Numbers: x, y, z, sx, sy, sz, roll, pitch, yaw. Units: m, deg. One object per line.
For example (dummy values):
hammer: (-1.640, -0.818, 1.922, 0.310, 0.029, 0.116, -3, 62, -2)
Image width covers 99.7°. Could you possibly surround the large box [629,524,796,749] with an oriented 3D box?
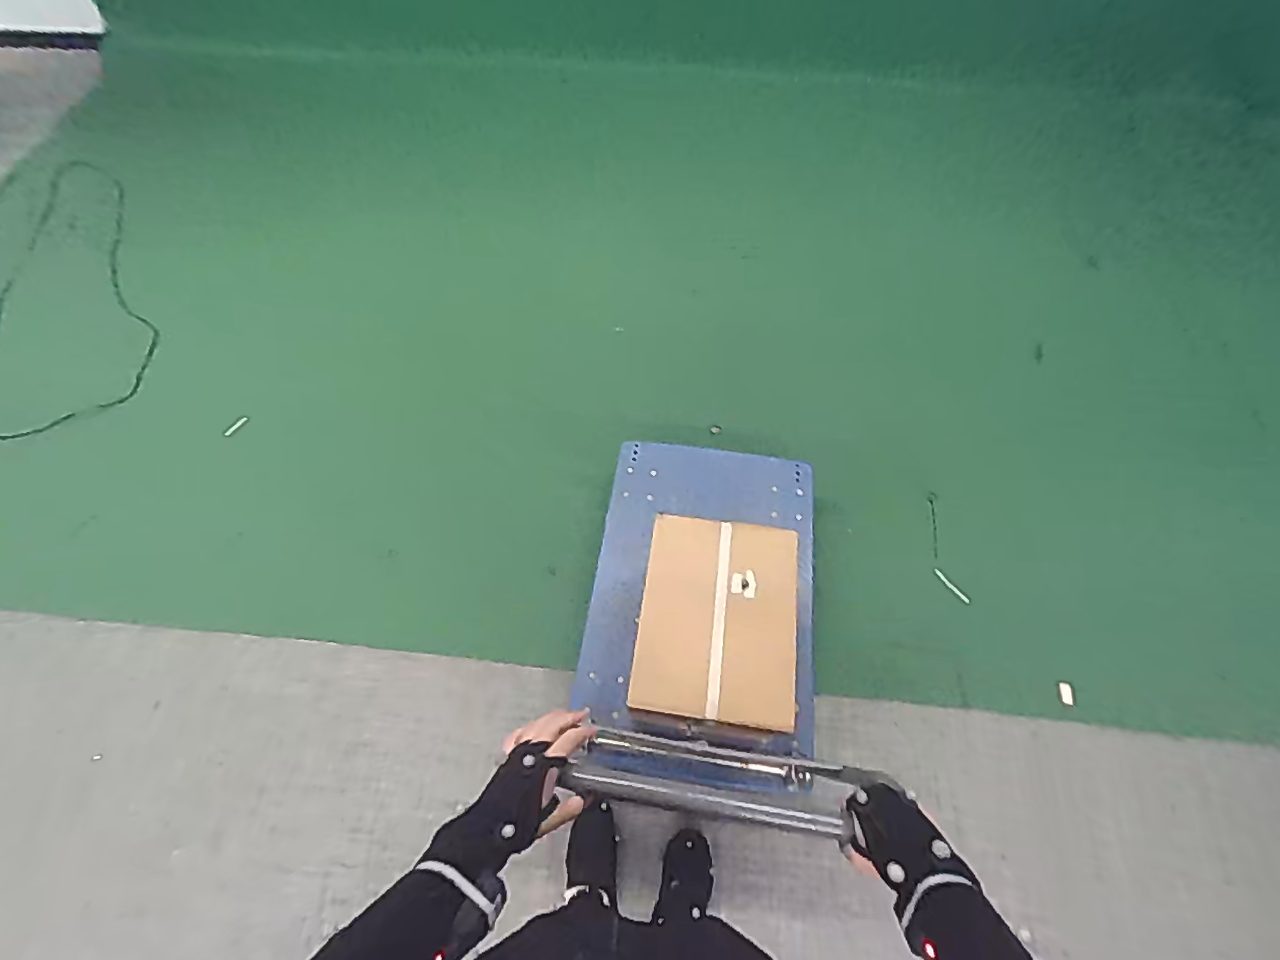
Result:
large box: (0.161, 0.359, 1.219, 0.320, 0.320, 0.408, 8, 61, 4)
